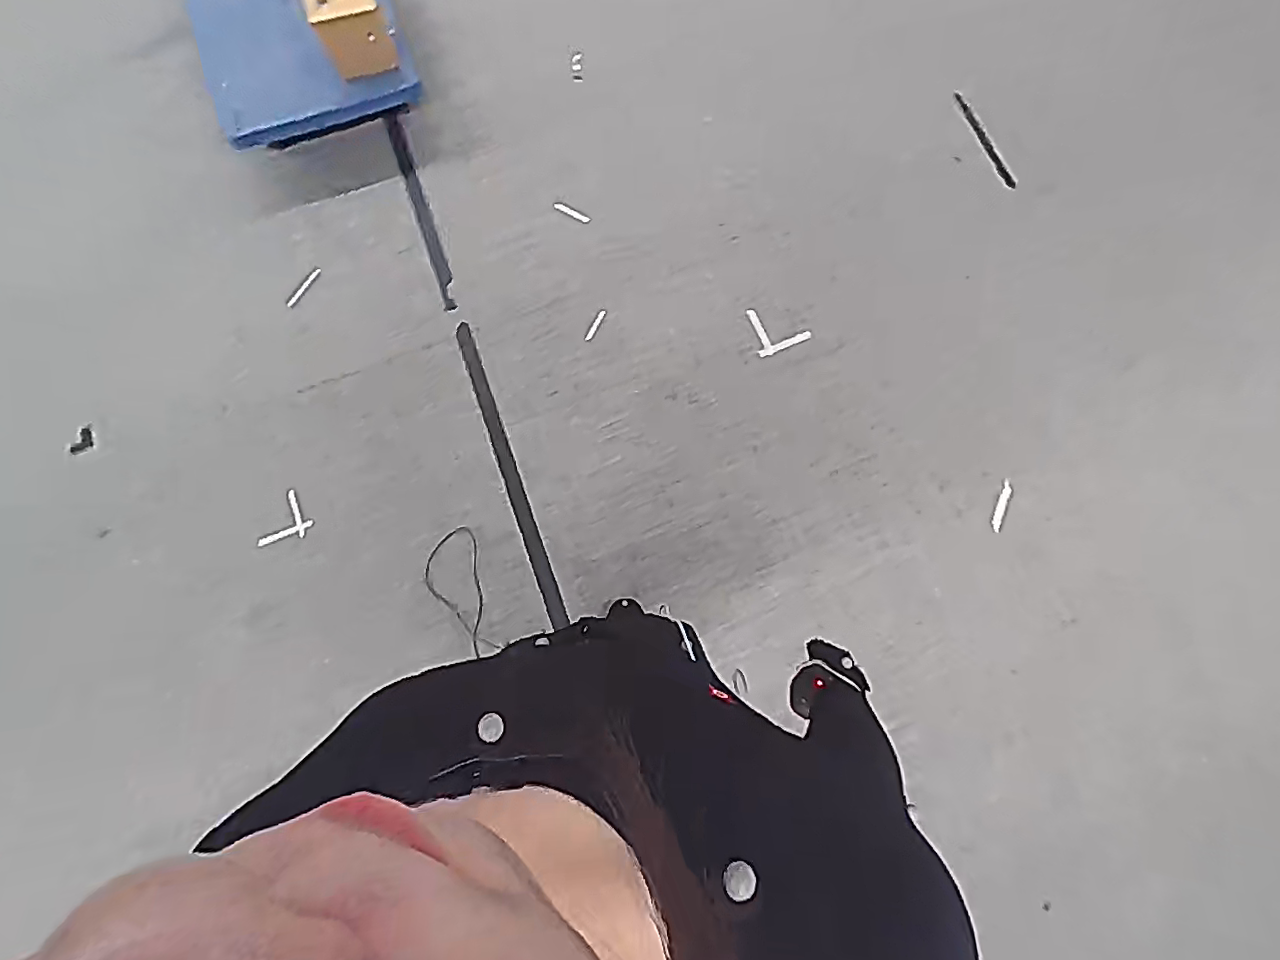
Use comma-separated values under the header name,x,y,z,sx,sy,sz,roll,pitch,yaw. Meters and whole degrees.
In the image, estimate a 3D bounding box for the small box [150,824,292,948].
name,x,y,z,sx,sy,sz,roll,pitch,yaw
small box,-0.874,0.869,1.148,0.179,0.176,0.168,-15,80,-3

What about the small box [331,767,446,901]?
name,x,y,z,sx,sy,sz,roll,pitch,yaw
small box,-0.537,0.757,1.175,0.168,0.176,0.179,-12,80,-3

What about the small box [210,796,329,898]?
name,x,y,z,sx,sy,sz,roll,pitch,yaw
small box,-0.885,0.902,1.309,0.179,0.176,0.168,-17,80,-4
